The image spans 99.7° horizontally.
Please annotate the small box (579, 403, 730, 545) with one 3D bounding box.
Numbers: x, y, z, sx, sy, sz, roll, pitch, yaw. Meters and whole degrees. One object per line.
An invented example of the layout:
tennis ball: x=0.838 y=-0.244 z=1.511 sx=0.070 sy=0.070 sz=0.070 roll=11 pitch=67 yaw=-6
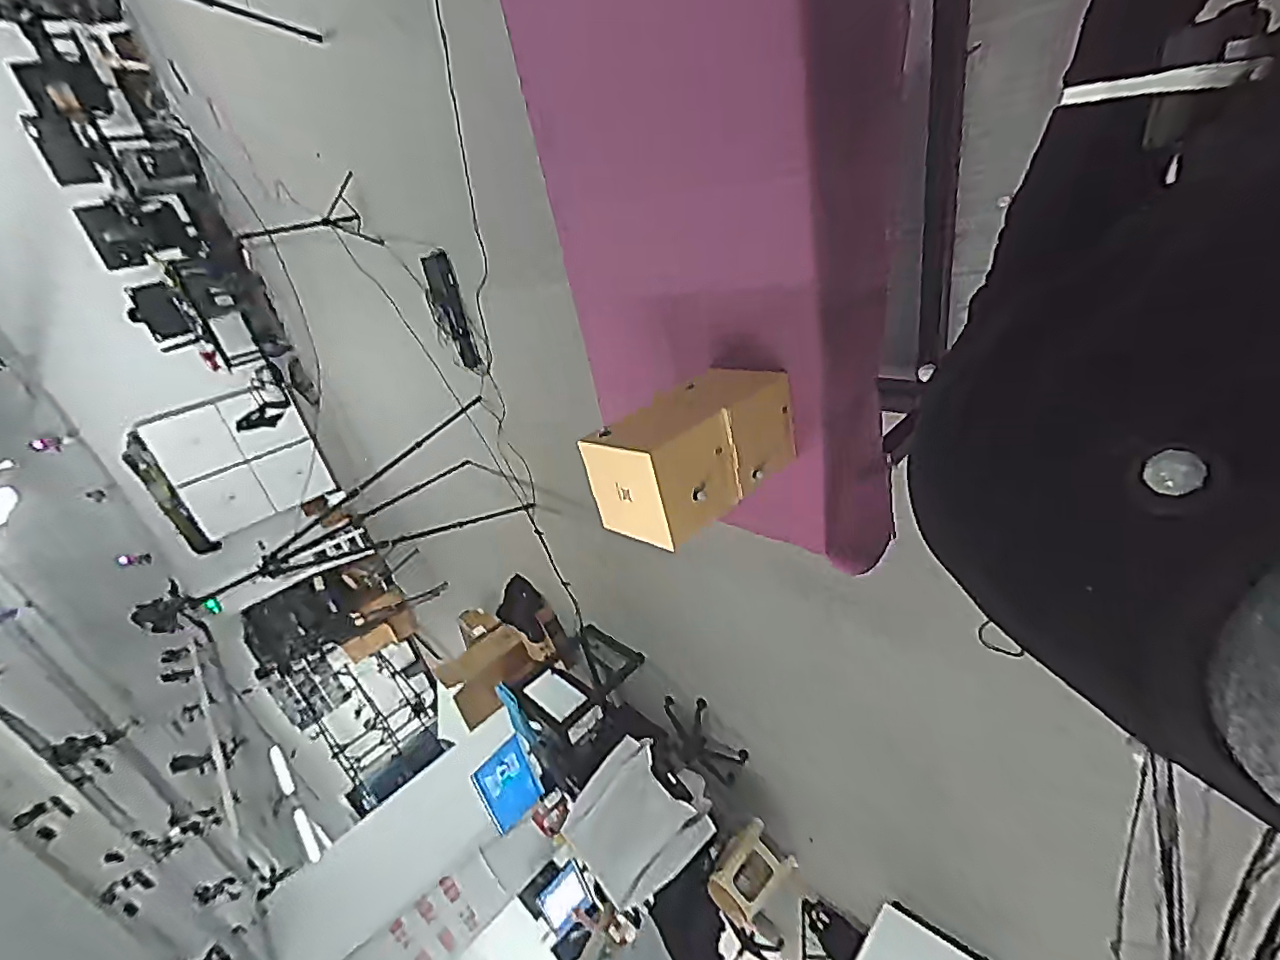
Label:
small box: x=0.032 y=-0.021 z=0.893 sx=0.179 sy=0.176 sz=0.168 roll=14 pitch=126 yaw=48
